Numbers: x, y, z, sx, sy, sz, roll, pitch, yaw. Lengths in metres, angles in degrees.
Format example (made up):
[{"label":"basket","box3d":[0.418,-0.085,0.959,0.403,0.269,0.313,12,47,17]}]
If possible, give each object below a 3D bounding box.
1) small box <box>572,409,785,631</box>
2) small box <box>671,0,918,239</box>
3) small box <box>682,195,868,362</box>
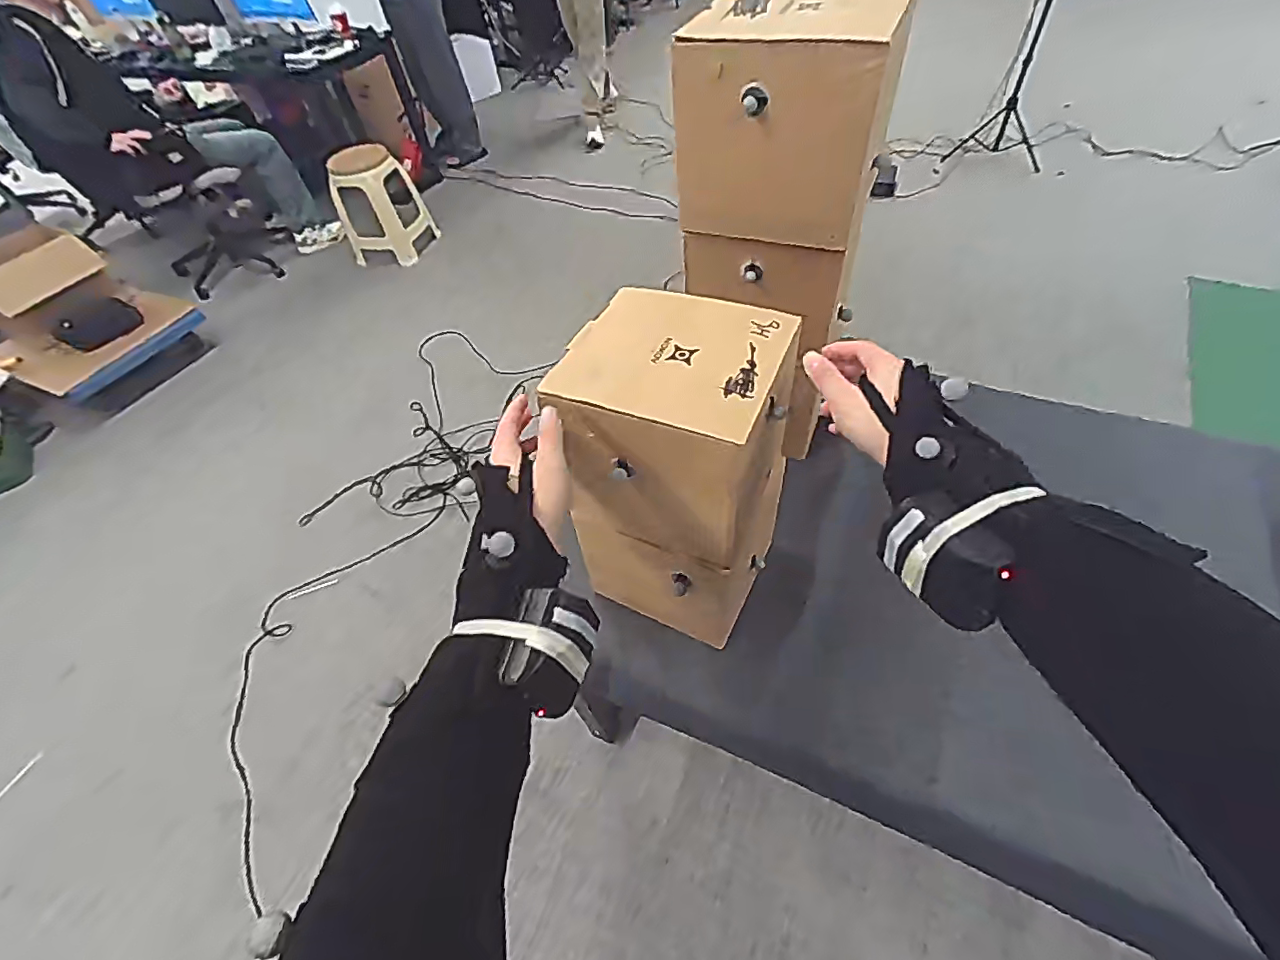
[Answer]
[{"label":"small box","box3d":[0.048,0.051,0.627,0.179,0.176,0.168,20,55,21]},{"label":"small box","box3d":[0.143,-0.356,0.519,0.179,0.176,0.168,17,59,18]},{"label":"small box","box3d":[0.161,-0.267,0.656,0.179,0.176,0.168,16,58,17]}]
